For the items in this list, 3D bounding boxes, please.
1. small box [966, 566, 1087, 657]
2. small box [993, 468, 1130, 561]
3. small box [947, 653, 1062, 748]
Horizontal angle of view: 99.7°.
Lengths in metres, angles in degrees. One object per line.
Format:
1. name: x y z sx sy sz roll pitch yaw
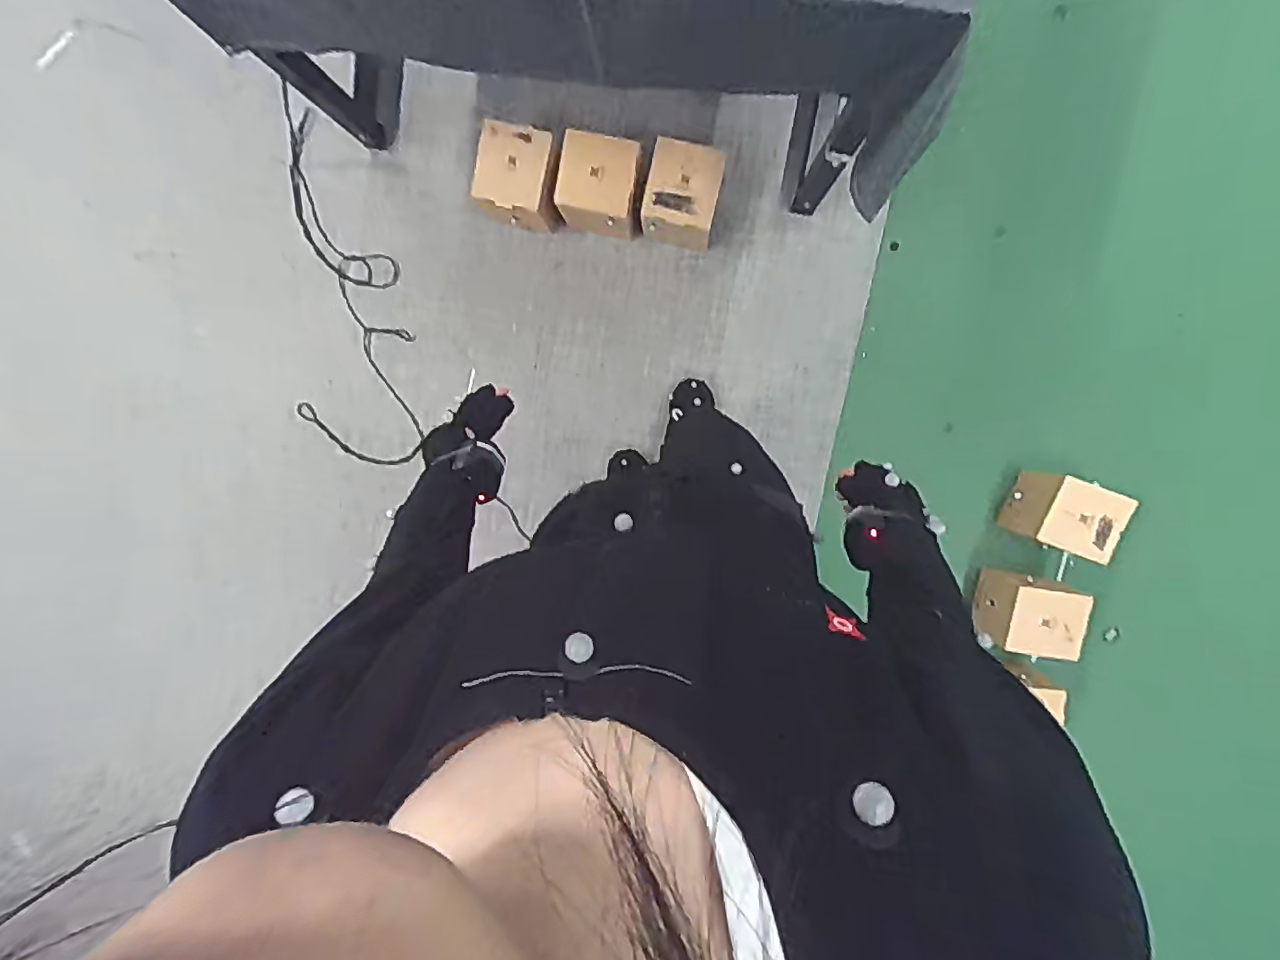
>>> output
1. small box: 0.973 0.326 1.378 0.179 0.176 0.168 8 99 2
2. small box: 1.034 0.077 1.342 0.179 0.176 0.168 21 97 1
3. small box: 0.944 0.570 1.414 0.179 0.176 0.168 5 98 2
